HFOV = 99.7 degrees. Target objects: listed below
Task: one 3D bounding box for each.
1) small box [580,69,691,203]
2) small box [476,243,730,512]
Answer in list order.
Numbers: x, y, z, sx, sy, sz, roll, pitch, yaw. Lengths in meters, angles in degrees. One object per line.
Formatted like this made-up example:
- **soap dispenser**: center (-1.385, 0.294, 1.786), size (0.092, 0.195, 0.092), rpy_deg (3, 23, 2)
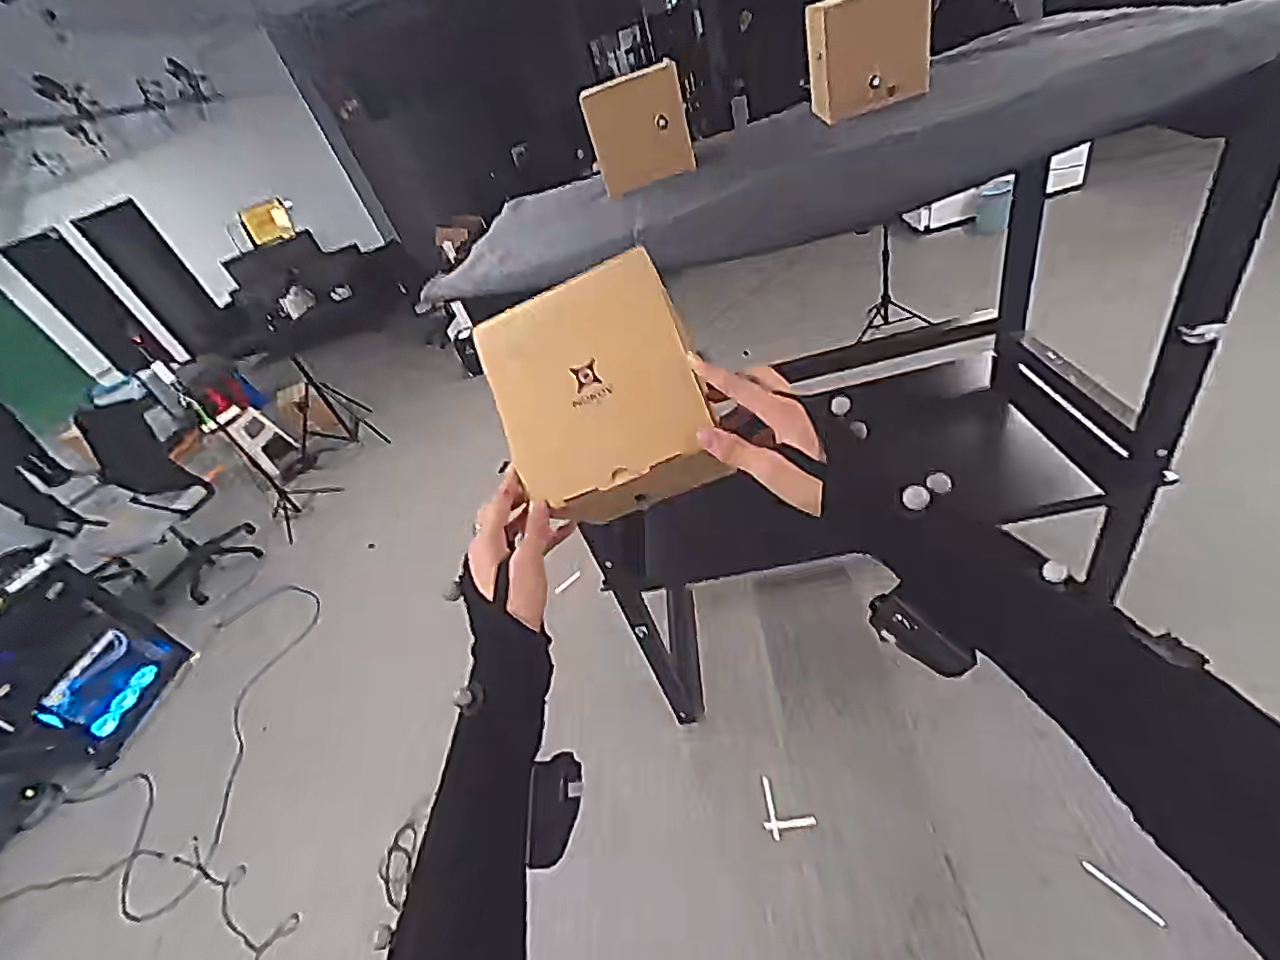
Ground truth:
- **small box**: center (-0.004, -0.662, 1.042), size (0.179, 0.176, 0.168), rpy_deg (-14, 38, 7)
- **small box**: center (-0.023, -0.078, 0.514), size (0.168, 0.176, 0.179), rpy_deg (-22, 81, 11)
